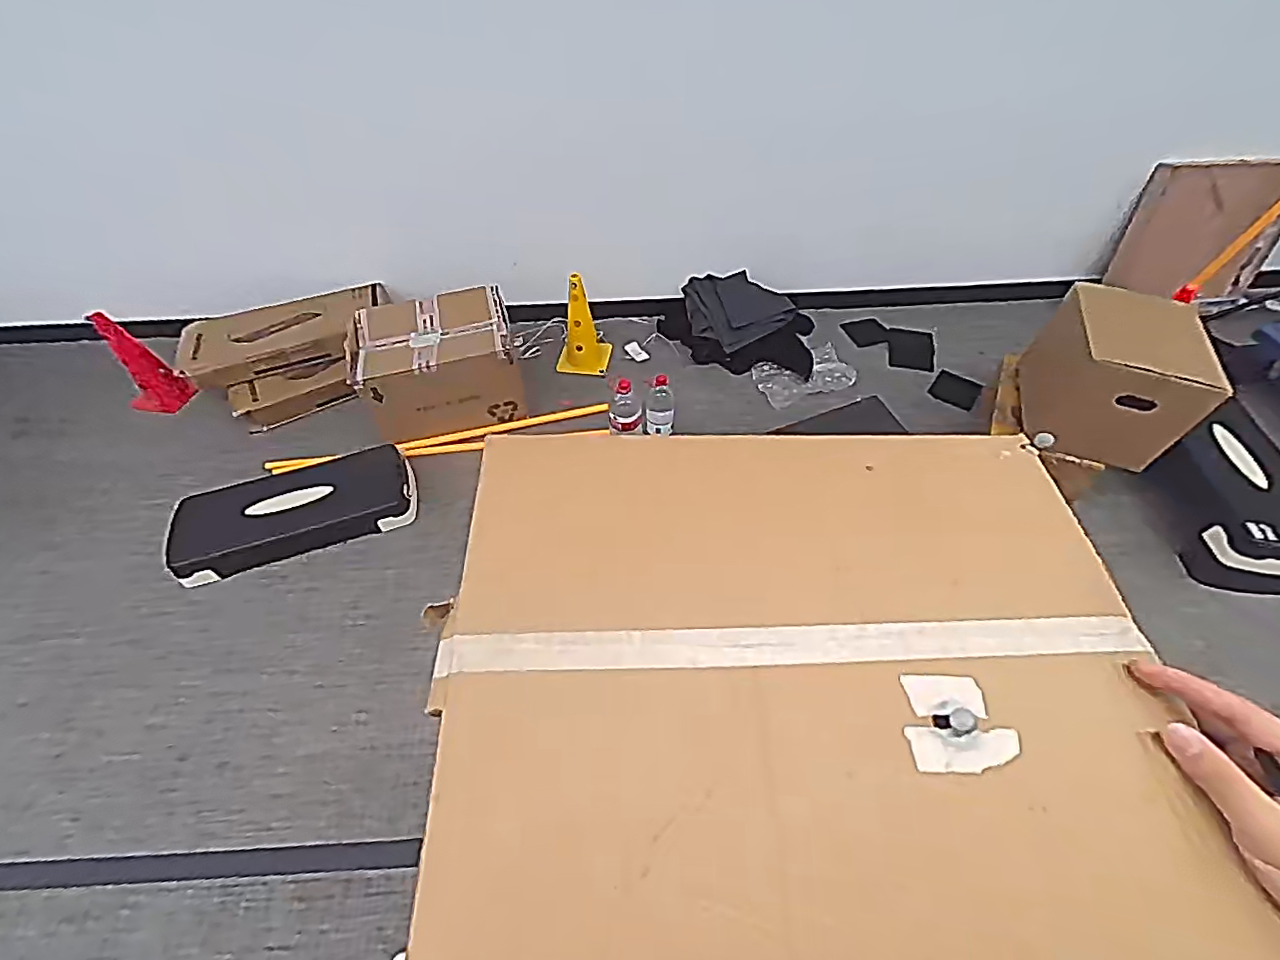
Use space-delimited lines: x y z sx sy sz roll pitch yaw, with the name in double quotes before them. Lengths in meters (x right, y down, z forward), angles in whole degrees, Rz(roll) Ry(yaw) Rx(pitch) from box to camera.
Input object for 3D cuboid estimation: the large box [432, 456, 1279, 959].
"large box" 0.087 0.194 0.442 0.408 0.320 0.320 0 56 -4
